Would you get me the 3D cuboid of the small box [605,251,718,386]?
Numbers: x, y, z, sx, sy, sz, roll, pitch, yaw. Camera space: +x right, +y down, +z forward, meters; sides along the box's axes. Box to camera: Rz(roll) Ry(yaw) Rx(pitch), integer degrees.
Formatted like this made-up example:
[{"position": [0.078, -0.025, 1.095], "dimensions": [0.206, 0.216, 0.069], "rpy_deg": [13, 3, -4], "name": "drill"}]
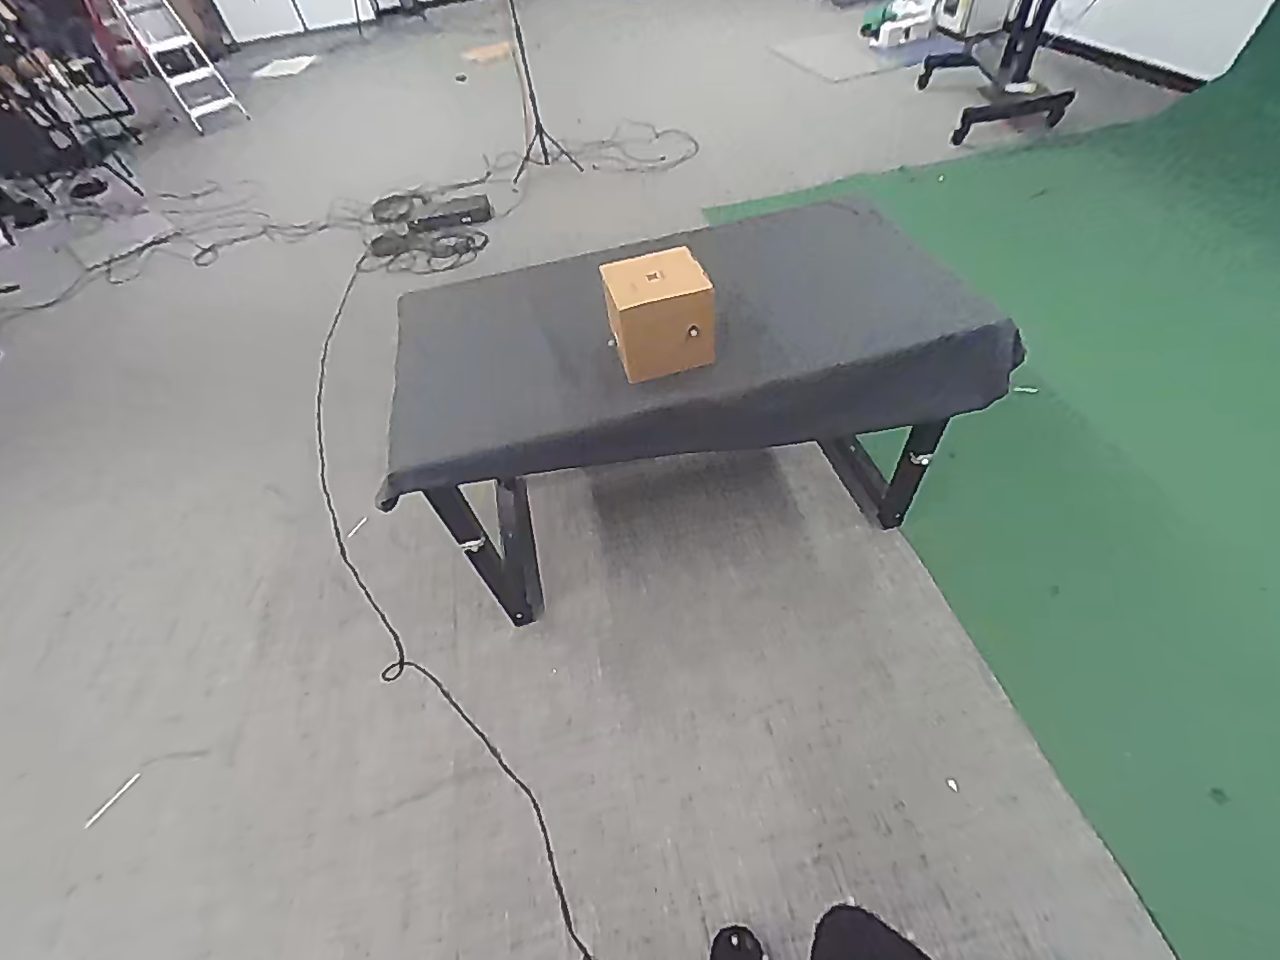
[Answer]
[{"position": [0.044, -0.310, 1.050], "dimensions": [0.179, 0.176, 0.168], "rpy_deg": [-16, 49, -4], "name": "small box"}]
